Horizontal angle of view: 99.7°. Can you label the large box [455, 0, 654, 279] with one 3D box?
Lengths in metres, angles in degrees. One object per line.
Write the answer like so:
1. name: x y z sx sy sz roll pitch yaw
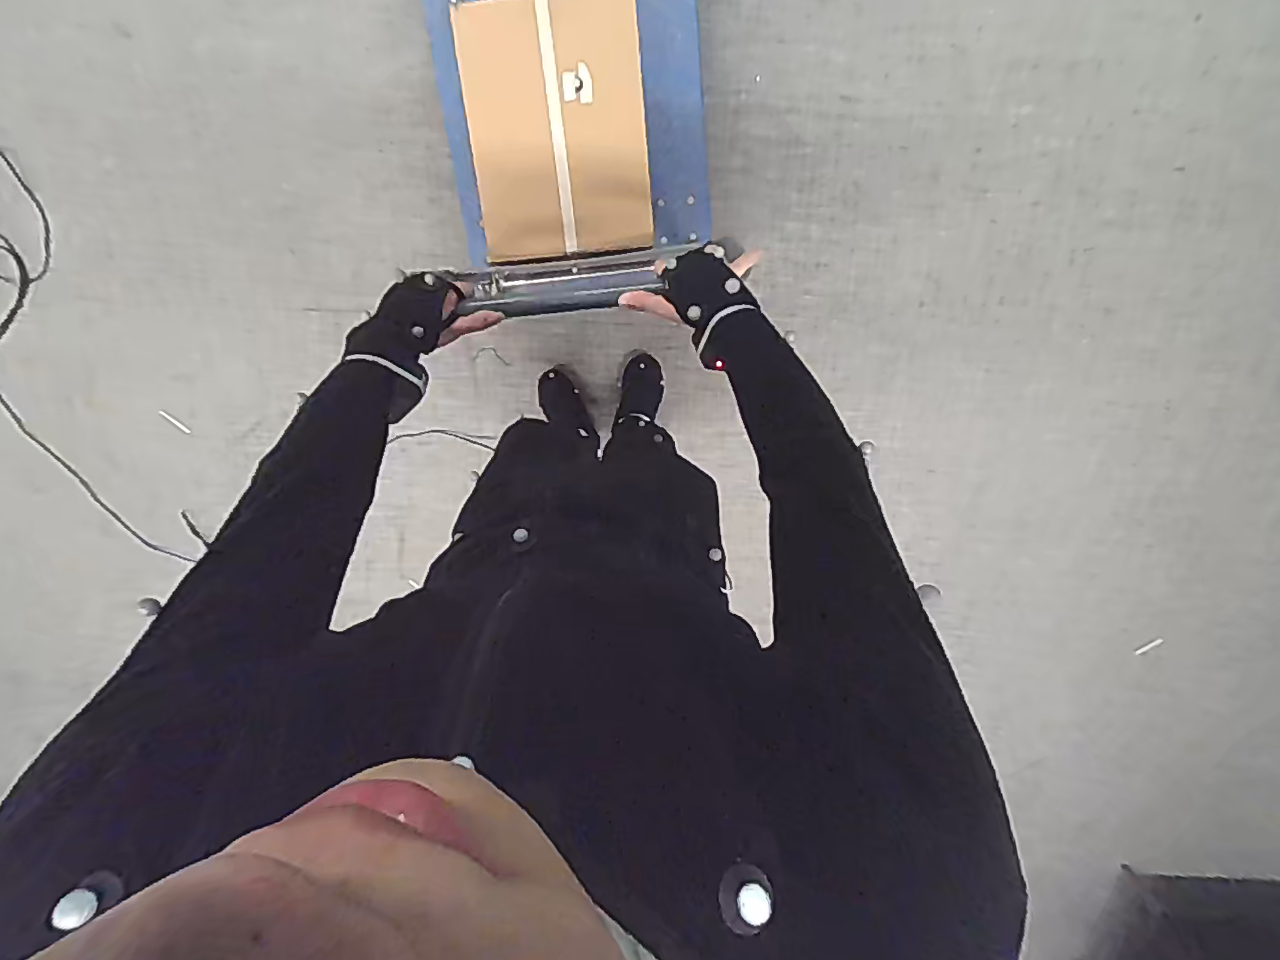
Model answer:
1. large box: -0.144 -0.652 1.117 0.320 0.320 0.408 -5 106 1
